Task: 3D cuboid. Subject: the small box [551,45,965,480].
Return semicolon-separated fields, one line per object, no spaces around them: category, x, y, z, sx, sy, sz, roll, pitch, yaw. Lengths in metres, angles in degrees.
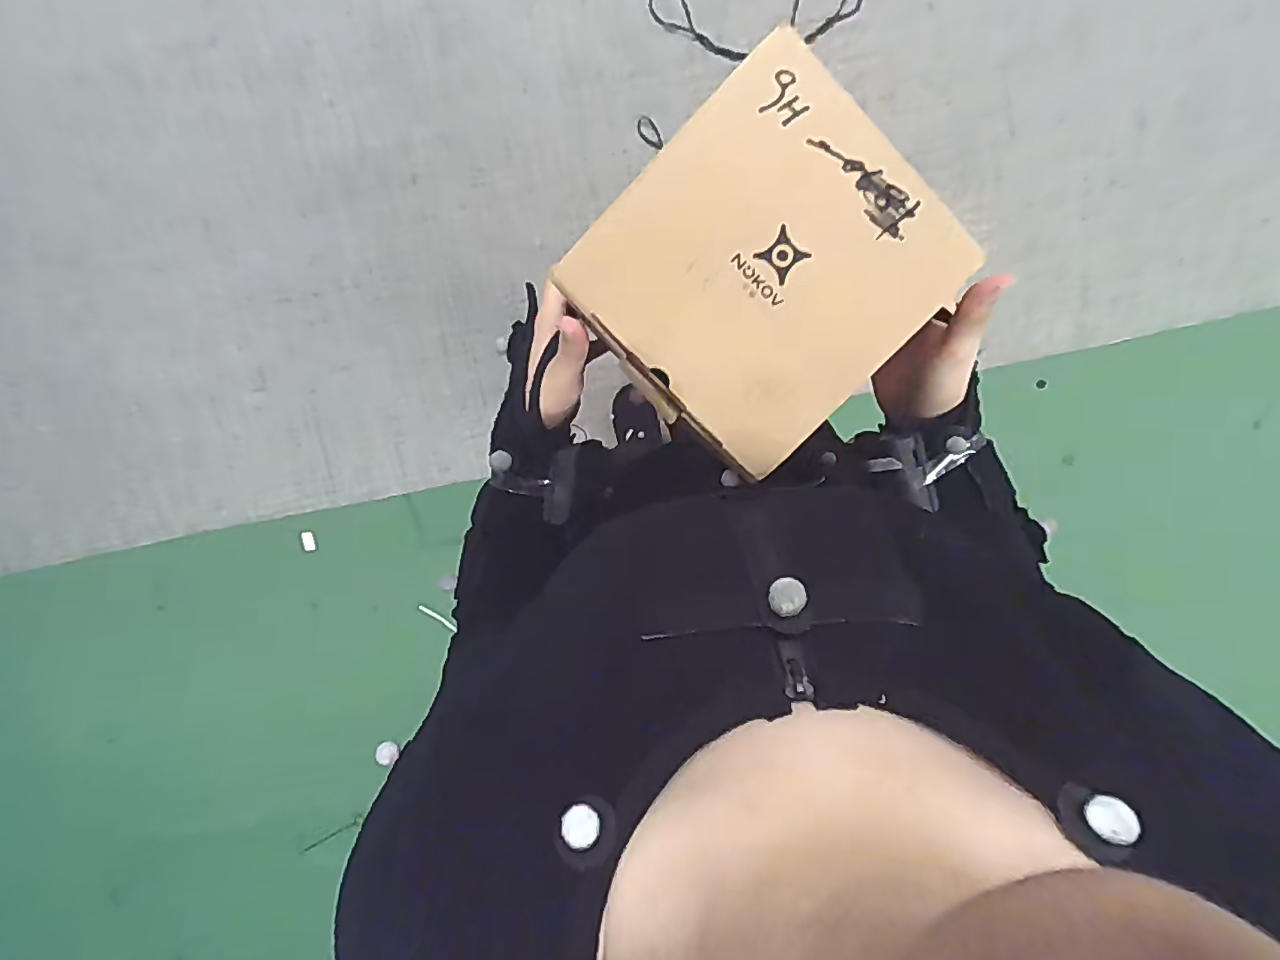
small box;0.068;-0.127;0.382;0.168;0.176;0.179;44;98;-6
